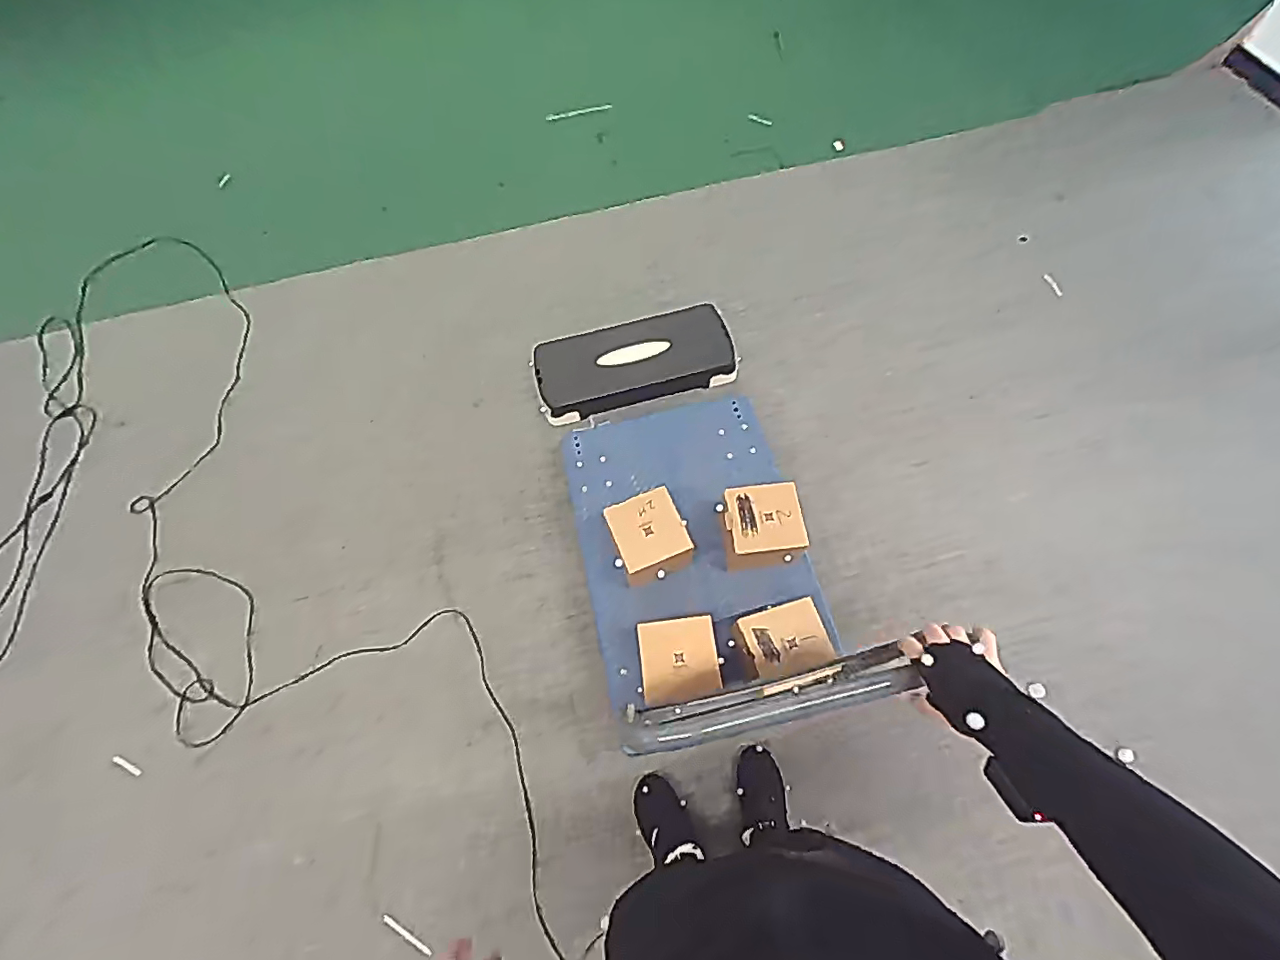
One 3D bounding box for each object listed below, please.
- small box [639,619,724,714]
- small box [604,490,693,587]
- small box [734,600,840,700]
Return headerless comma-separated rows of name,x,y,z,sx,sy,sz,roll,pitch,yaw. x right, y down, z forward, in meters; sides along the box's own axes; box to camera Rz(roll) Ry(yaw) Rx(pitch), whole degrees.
small box,0.086,0.425,1.224,0.168,0.176,0.179,-6,66,-2
small box,0.022,0.155,1.350,0.168,0.176,0.179,-21,66,-8
small box,0.321,0.392,1.230,0.179,0.176,0.168,-16,66,-5
